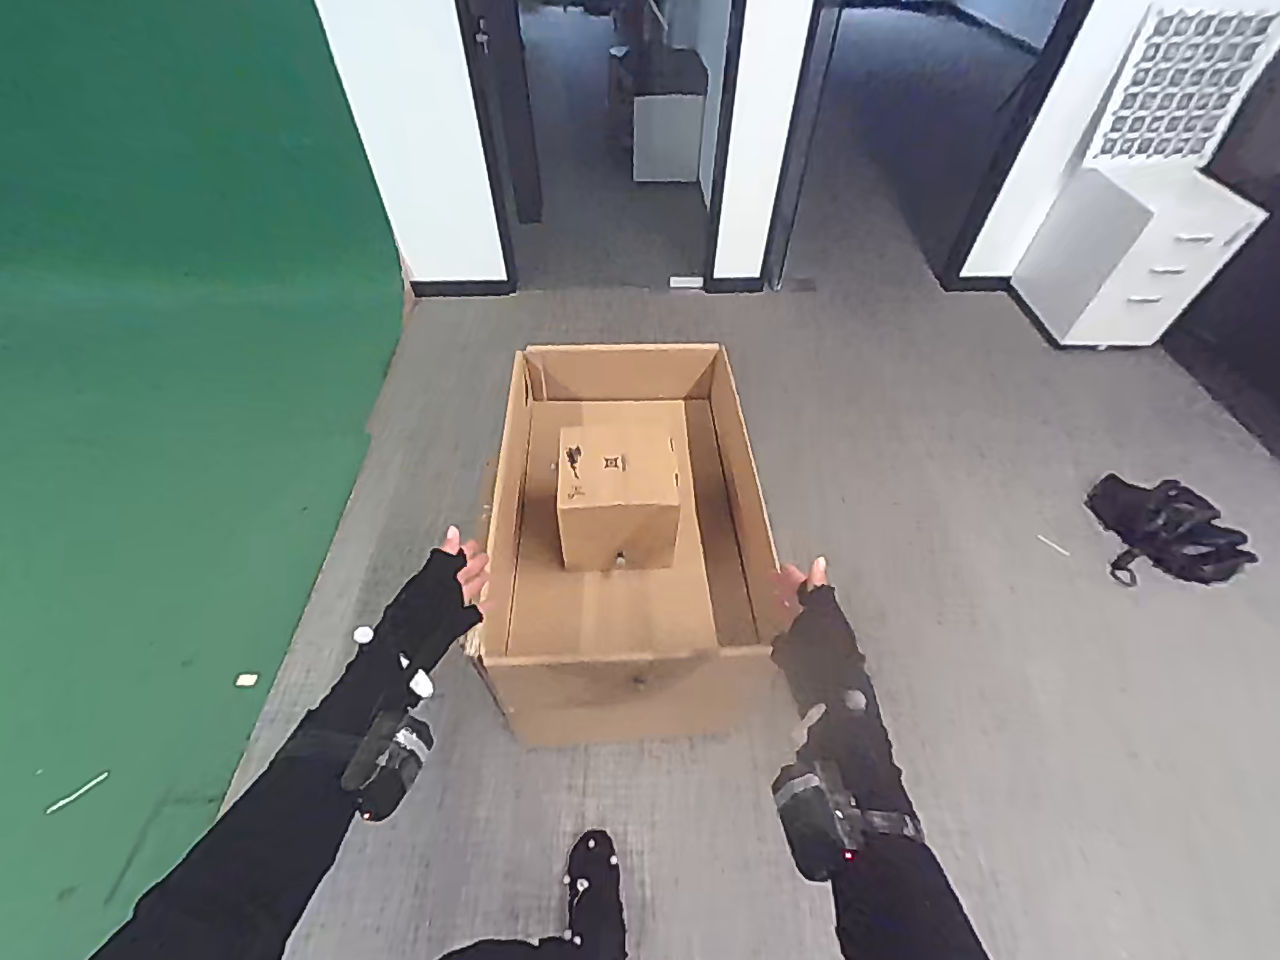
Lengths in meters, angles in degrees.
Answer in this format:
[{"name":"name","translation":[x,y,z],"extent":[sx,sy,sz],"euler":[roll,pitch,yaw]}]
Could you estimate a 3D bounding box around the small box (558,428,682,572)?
[{"name":"small box","translation":[-0.036,0.034,0.863],"extent":[0.179,0.176,0.168],"euler":[-1,48,-4]}]
